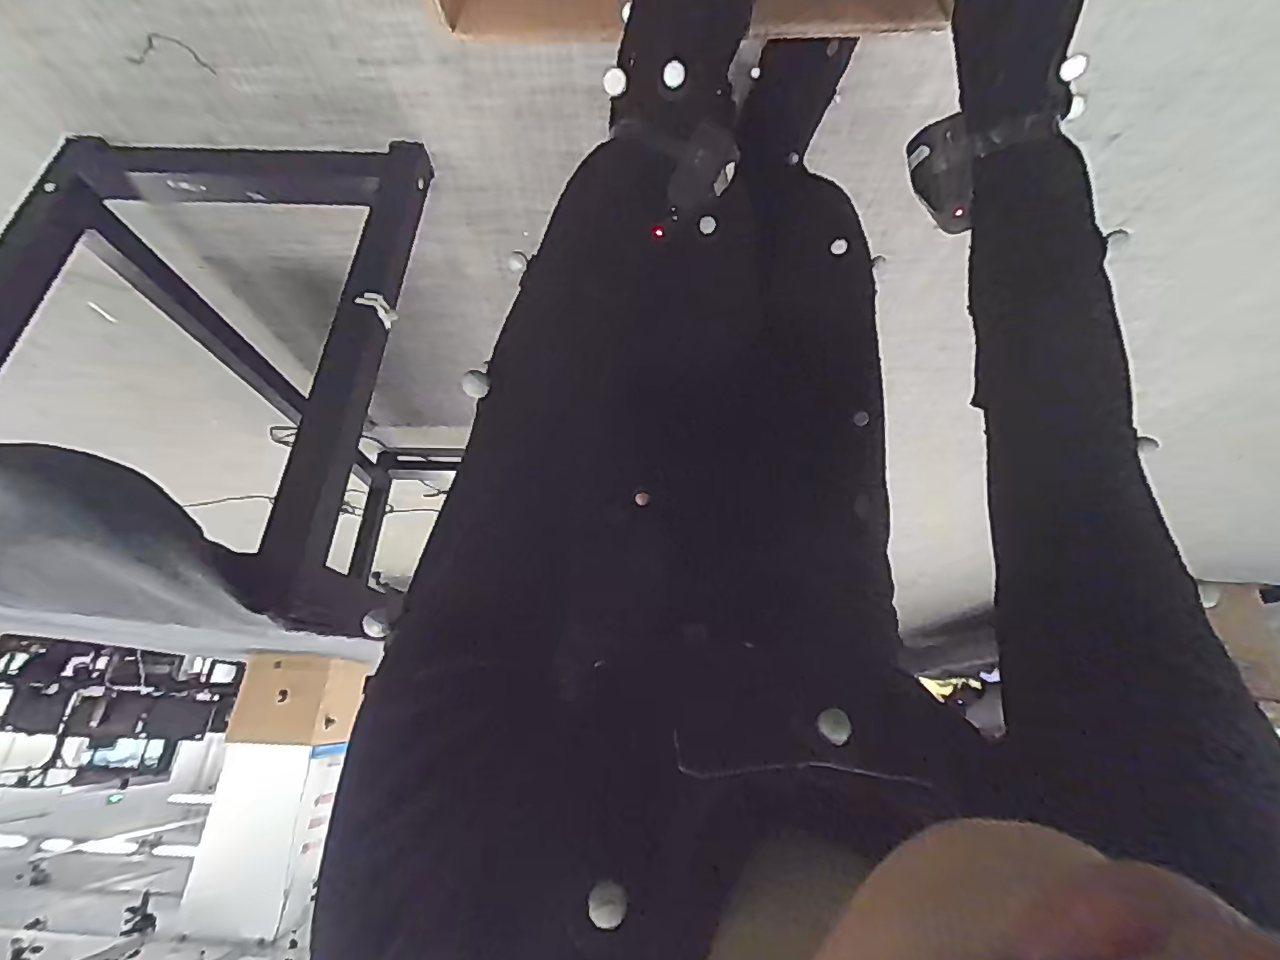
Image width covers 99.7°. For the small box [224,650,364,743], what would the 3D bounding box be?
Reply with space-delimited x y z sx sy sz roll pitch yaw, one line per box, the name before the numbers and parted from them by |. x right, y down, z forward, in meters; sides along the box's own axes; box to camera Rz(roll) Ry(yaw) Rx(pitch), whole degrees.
small box | -0.712 0.455 1.135 0.168 0.176 0.179 3 156 -1
